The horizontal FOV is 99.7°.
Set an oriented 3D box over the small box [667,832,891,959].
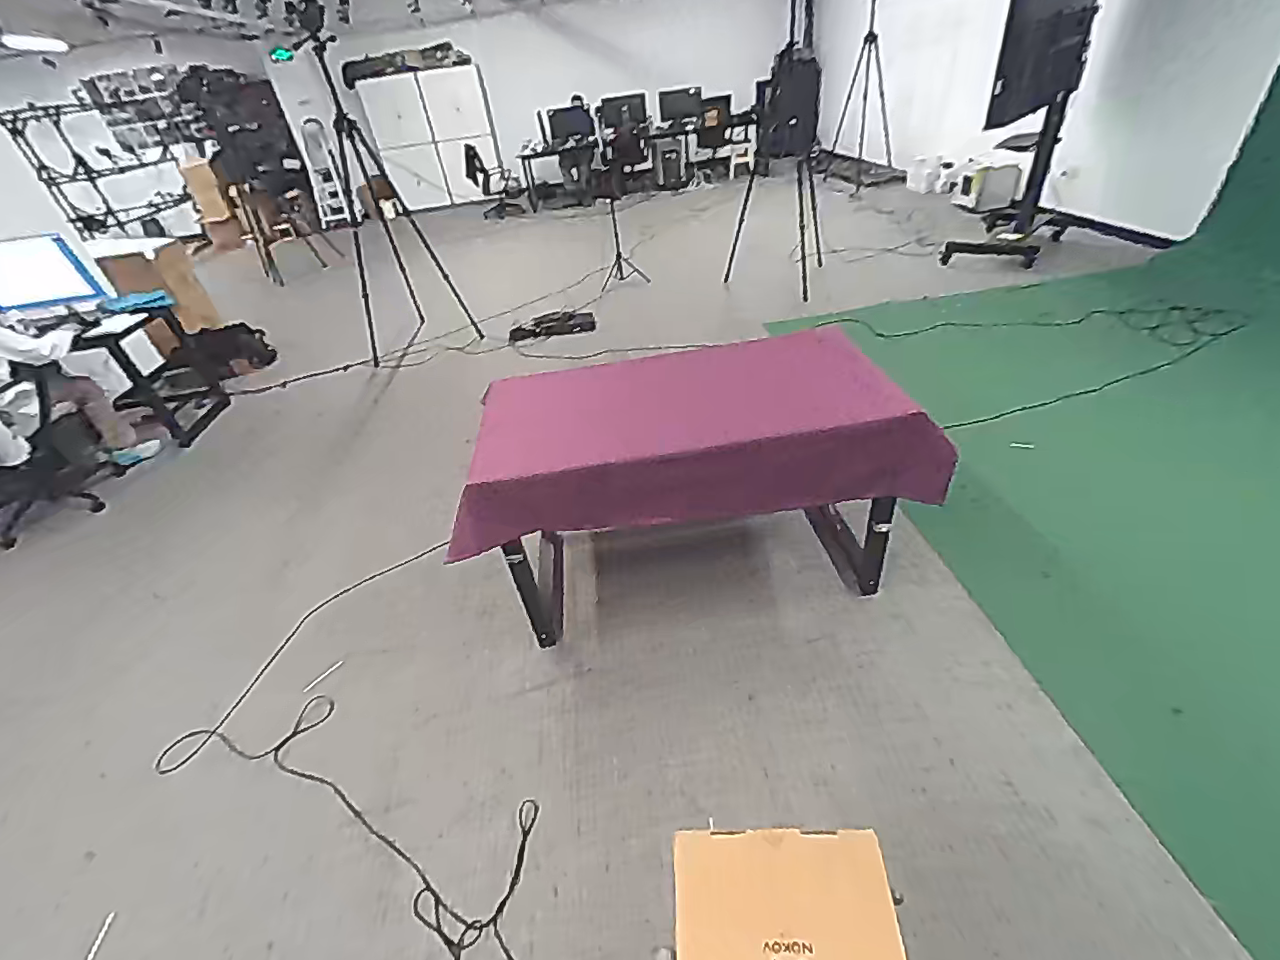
[{"bbox_3d":[0.114,0.414,0.454,0.168,0.176,0.179,-5,46,6],"label":"small box"}]
